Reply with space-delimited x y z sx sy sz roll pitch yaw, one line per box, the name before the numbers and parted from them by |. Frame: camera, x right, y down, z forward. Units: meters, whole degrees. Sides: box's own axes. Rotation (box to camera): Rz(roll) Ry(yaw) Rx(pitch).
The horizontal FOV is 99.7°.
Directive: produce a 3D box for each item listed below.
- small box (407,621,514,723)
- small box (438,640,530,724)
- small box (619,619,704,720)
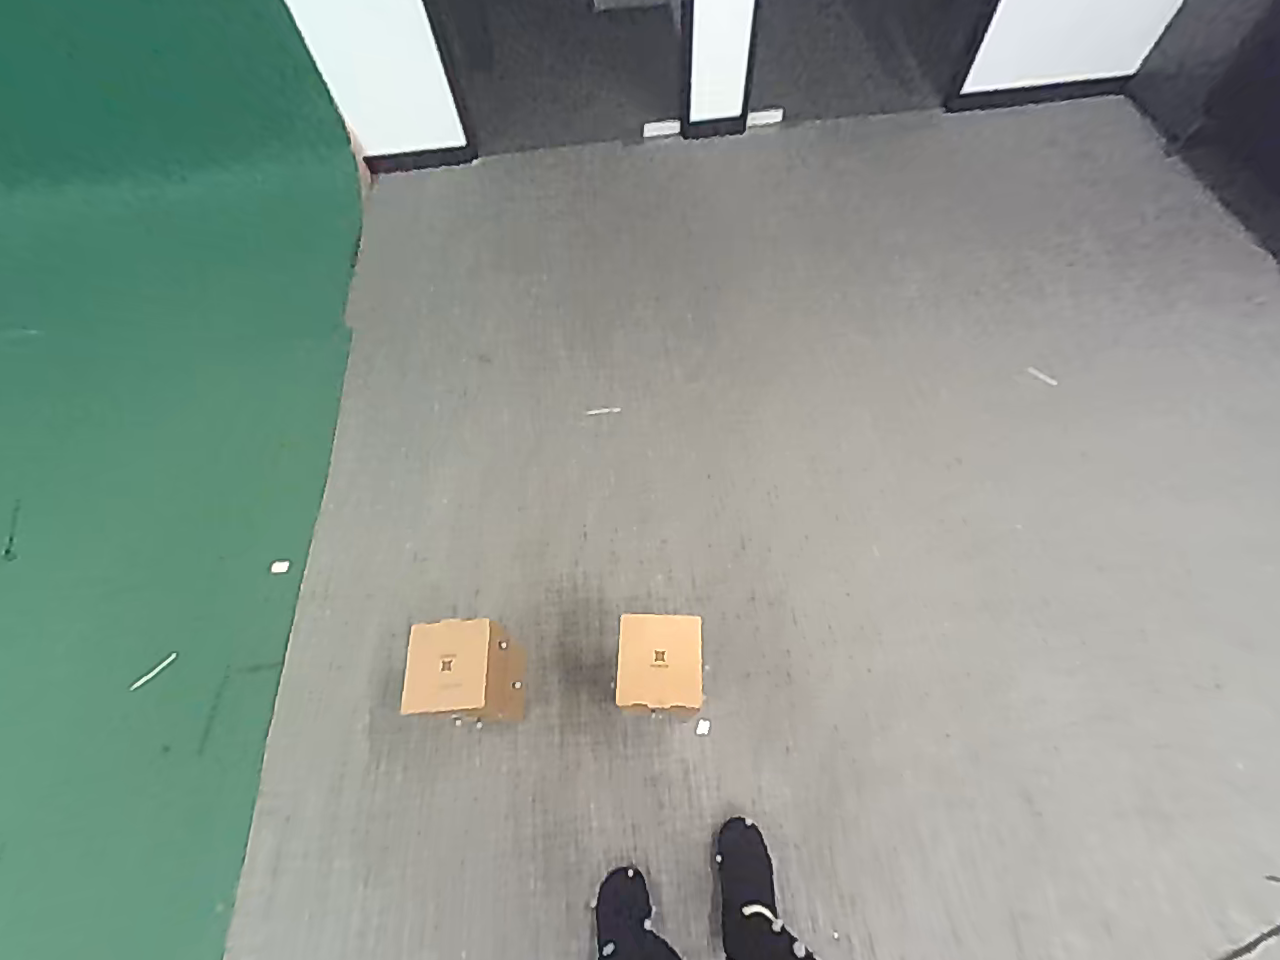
small box | -0.371 0.413 1.153 0.168 0.176 0.179 -6 63 1
small box | -0.367 0.488 1.297 0.168 0.176 0.179 -2 63 2
small box | 0.047 0.401 1.137 0.168 0.176 0.179 1 63 4
